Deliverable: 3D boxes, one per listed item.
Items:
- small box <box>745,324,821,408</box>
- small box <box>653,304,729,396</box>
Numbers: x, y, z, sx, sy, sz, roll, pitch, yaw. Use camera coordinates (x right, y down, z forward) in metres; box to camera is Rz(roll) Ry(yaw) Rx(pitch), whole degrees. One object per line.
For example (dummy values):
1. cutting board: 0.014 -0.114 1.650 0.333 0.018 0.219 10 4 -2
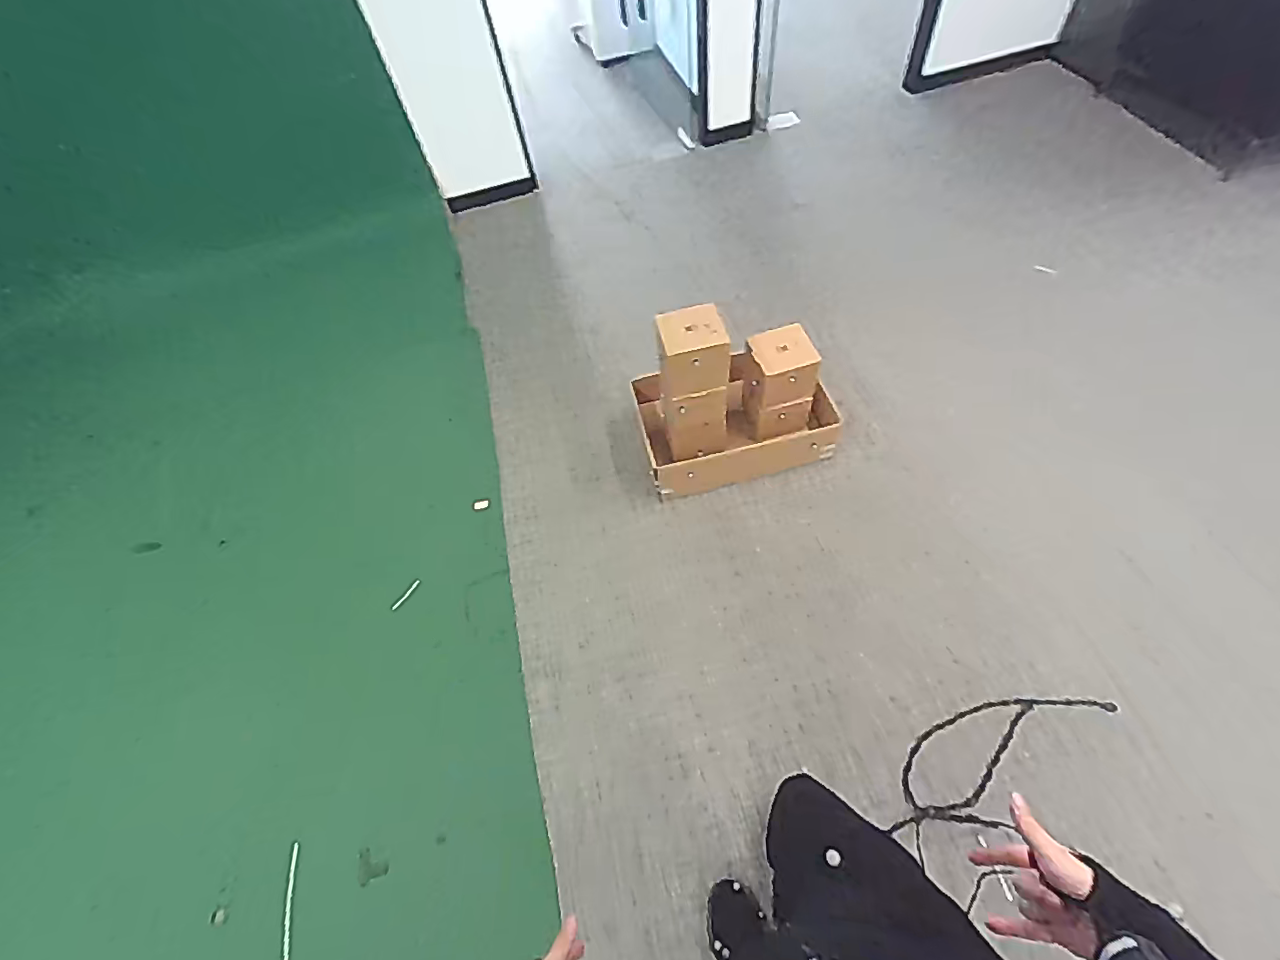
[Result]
1. small box: 0.433 -0.346 1.672 0.179 0.176 0.168 -16 59 -2
2. small box: 0.145 -0.360 1.521 0.179 0.176 0.168 -13 57 -1
